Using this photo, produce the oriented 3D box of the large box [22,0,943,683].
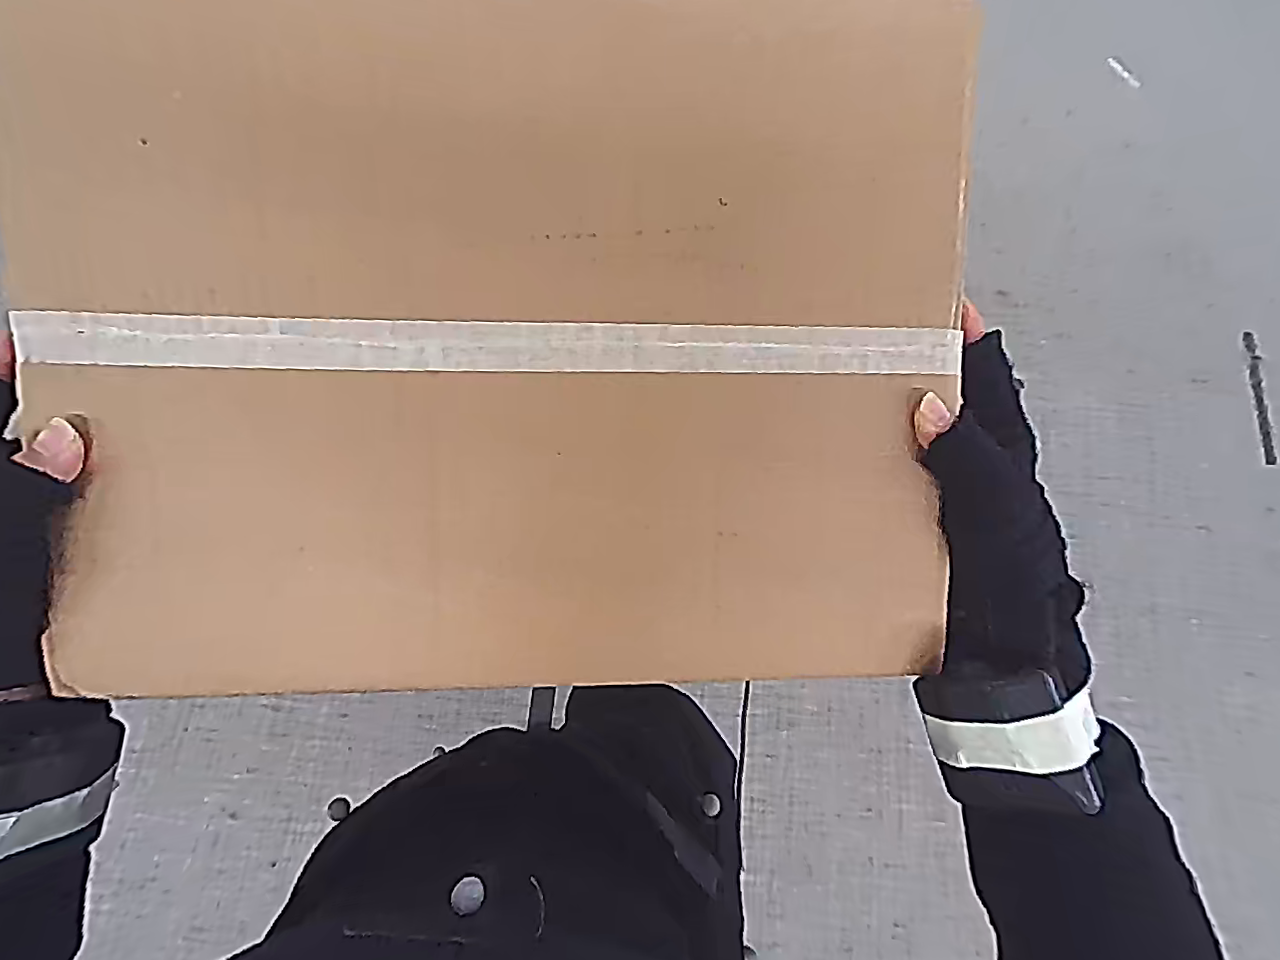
[{"bbox_3d":[-0.067,-0.073,0.399,0.408,0.320,0.320,1,95,-5],"label":"large box"}]
